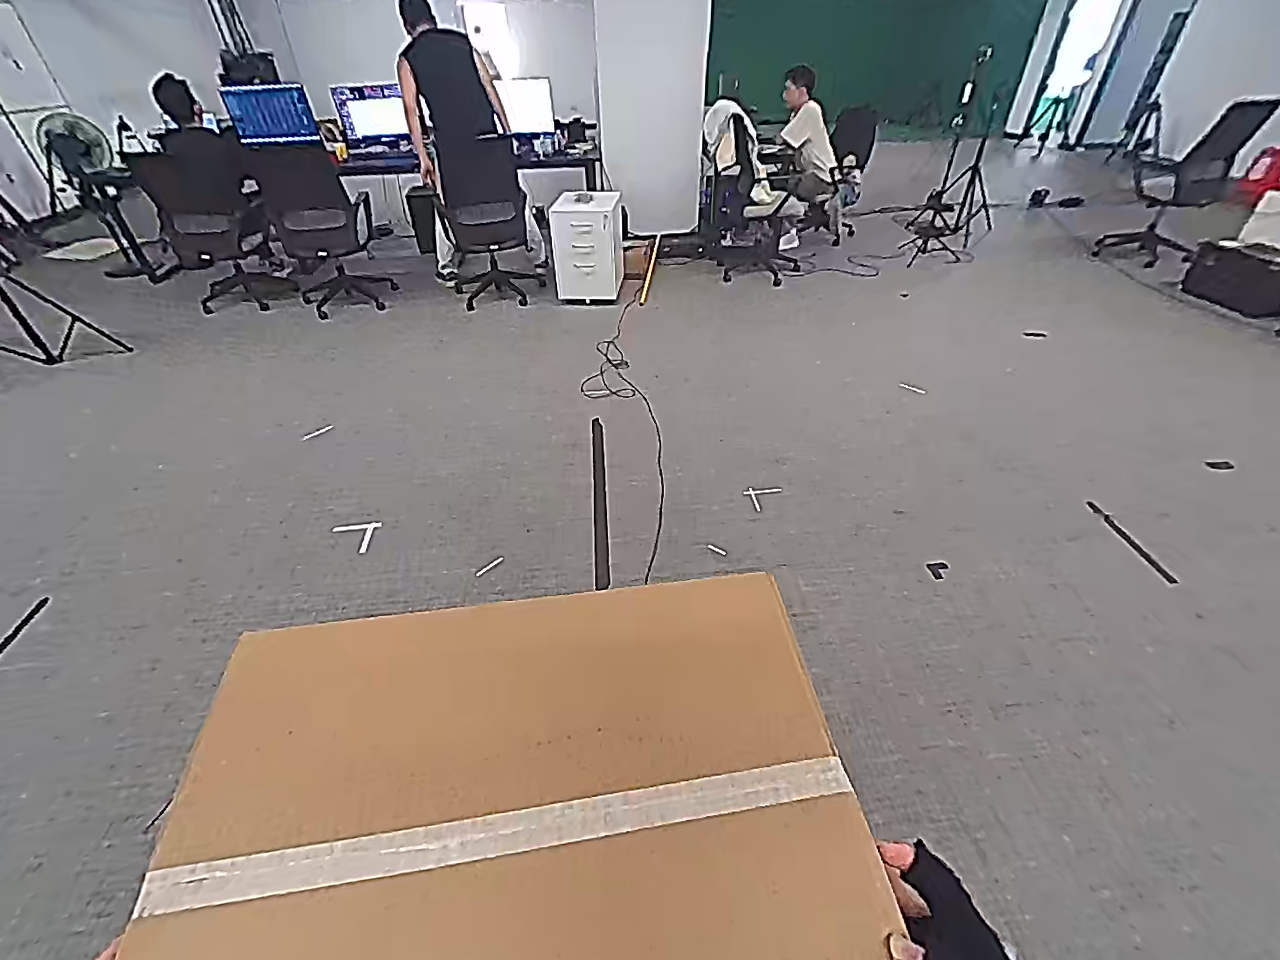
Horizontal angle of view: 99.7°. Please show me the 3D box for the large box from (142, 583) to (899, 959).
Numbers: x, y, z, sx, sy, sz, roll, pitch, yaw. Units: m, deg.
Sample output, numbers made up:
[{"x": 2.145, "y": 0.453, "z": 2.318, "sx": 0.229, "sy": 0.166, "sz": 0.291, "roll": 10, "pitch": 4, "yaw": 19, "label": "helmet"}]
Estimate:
[{"x": -0.071, "y": 0.318, "z": 0.434, "sx": 0.408, "sy": 0.320, "sz": 0.320, "roll": -6, "pitch": 46, "yaw": -6, "label": "large box"}]
